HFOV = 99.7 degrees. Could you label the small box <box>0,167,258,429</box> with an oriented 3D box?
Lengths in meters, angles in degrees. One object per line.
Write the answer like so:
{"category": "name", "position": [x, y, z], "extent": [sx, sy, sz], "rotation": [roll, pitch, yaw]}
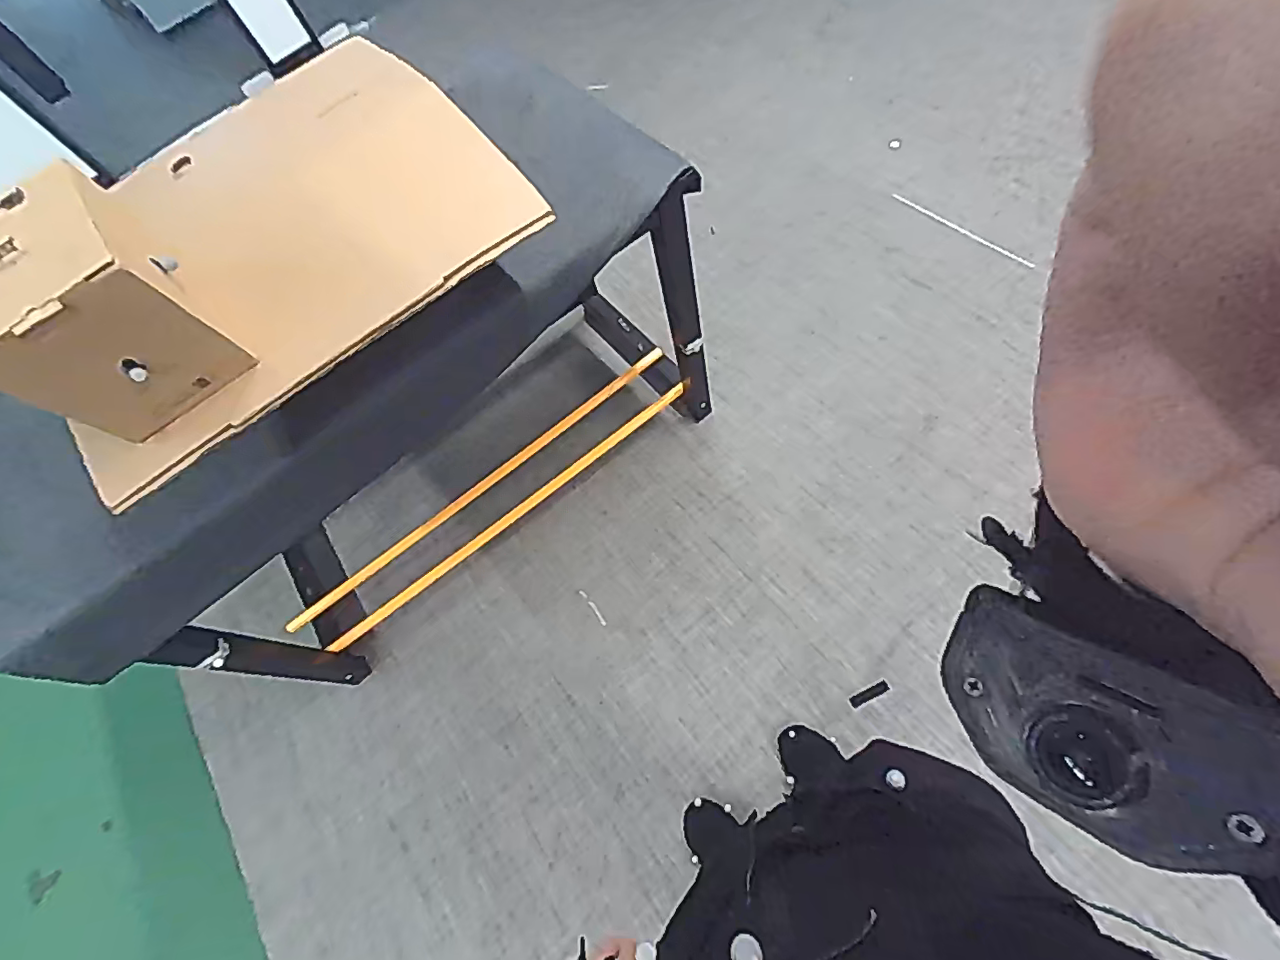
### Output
{"category": "small box", "position": [-0.561, -0.175, 0.576], "extent": [0.168, 0.176, 0.179], "rotation": [-38, 72, -7]}
